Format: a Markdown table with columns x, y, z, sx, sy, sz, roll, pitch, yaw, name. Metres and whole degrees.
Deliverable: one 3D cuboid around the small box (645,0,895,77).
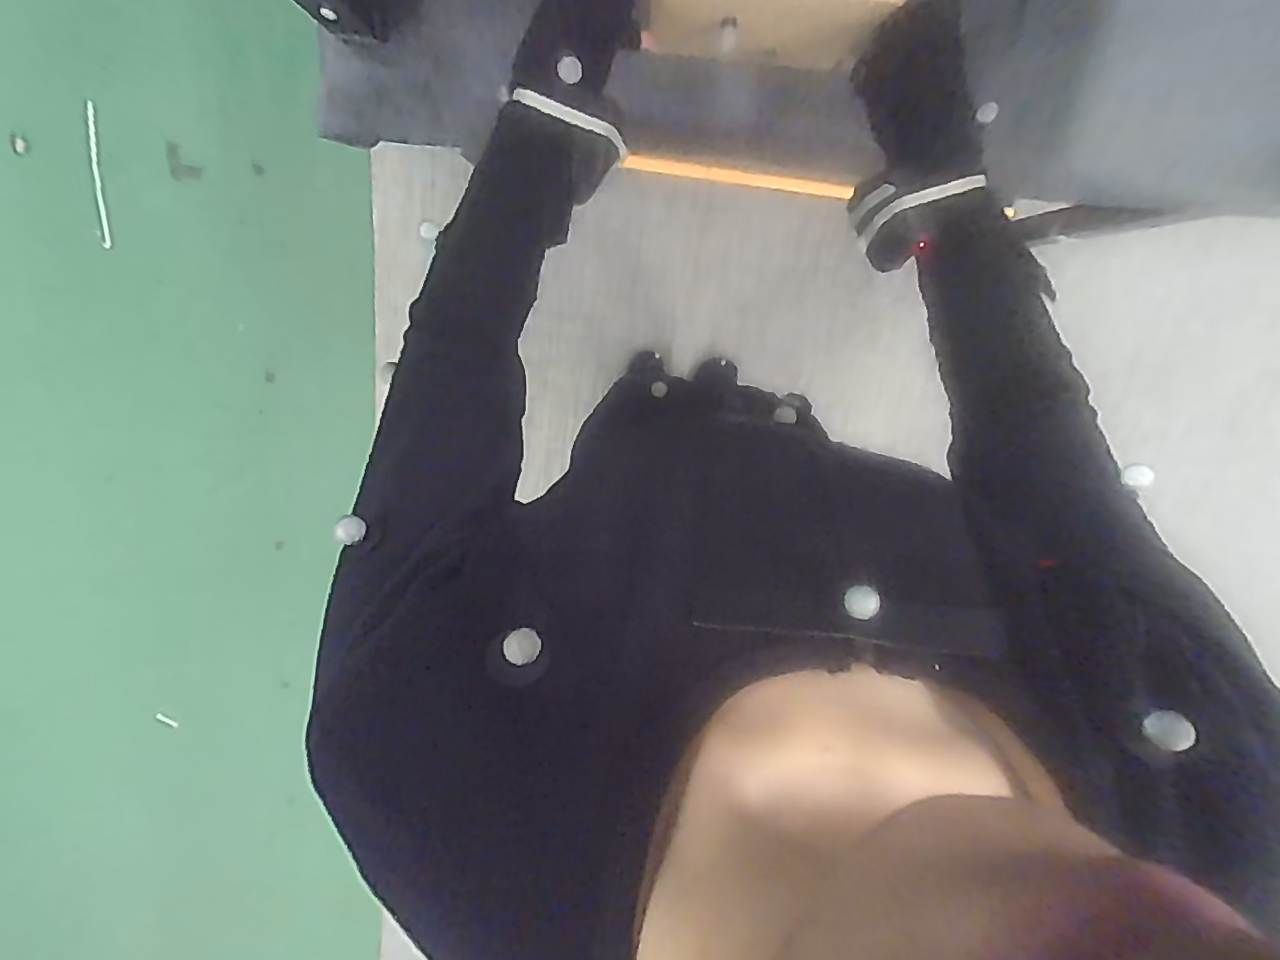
| x | y | z | sx | sy | sz | roll | pitch | yaw | name |
| --- | --- | --- | --- | --- | --- | --- | --- | --- | --- |
| 0.095 | -0.419 | 0.389 | 0.168 | 0.176 | 0.179 | 5 | 113 | -1 | small box |
